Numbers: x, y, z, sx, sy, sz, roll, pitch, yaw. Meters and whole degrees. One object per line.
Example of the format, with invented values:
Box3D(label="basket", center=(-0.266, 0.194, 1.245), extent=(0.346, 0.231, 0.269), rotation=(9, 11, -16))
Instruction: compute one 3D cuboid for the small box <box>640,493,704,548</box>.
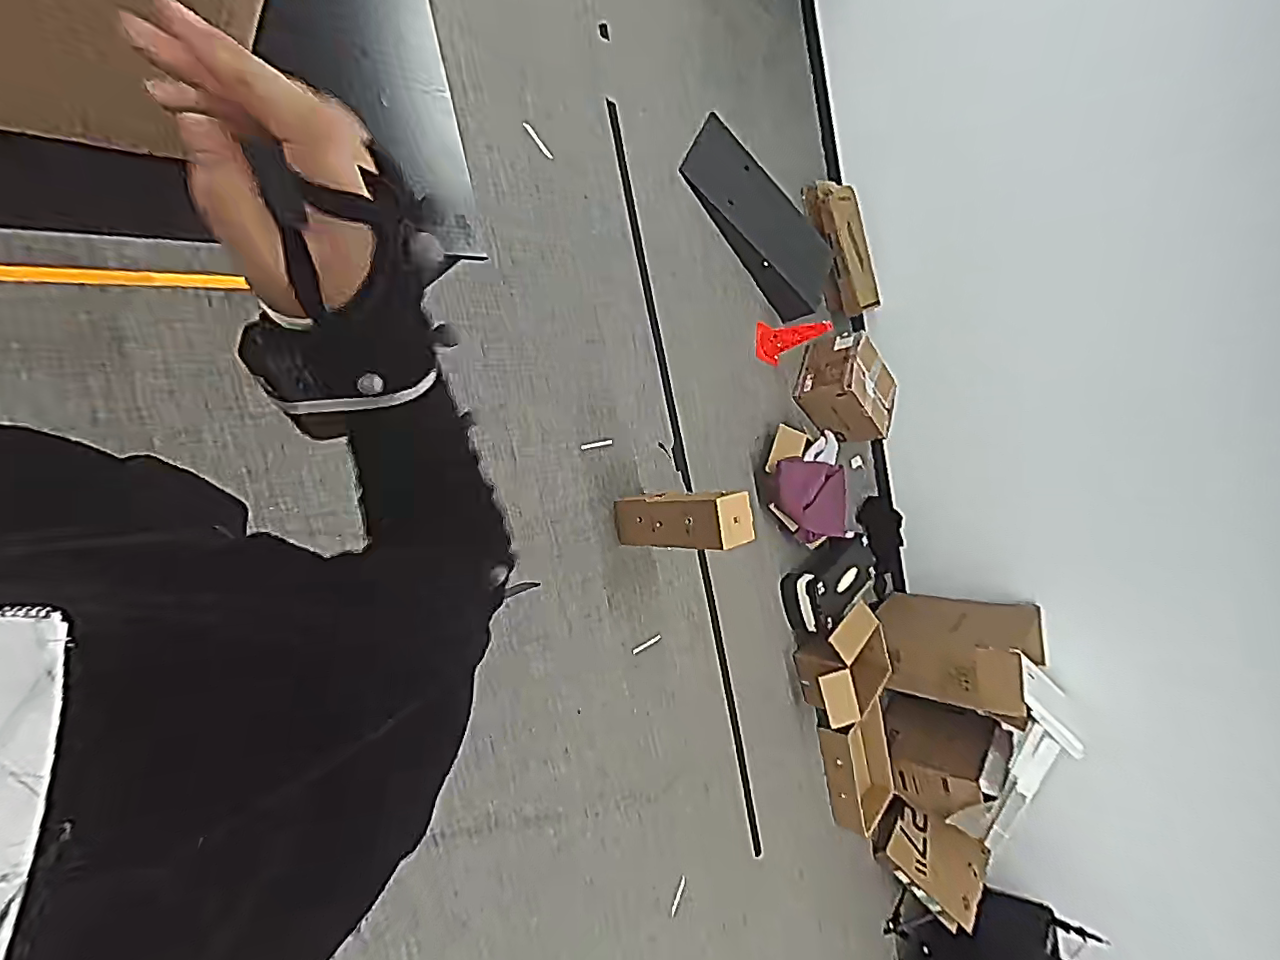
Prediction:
Box3D(label="small box", center=(0.125, 0.140, 1.923), extent=(0.179, 0.176, 0.168), rotation=(-12, 94, -44))

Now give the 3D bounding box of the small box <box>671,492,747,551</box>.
Box3D(label="small box", center=(0.229, 0.134, 1.797), extent=(0.179, 0.176, 0.168), rotation=(-12, 94, -43))

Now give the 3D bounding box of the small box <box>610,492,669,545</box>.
Box3D(label="small box", center=(0.005, 0.144, 2.036), extent=(0.168, 0.176, 0.179), rotation=(-11, 95, -44))
